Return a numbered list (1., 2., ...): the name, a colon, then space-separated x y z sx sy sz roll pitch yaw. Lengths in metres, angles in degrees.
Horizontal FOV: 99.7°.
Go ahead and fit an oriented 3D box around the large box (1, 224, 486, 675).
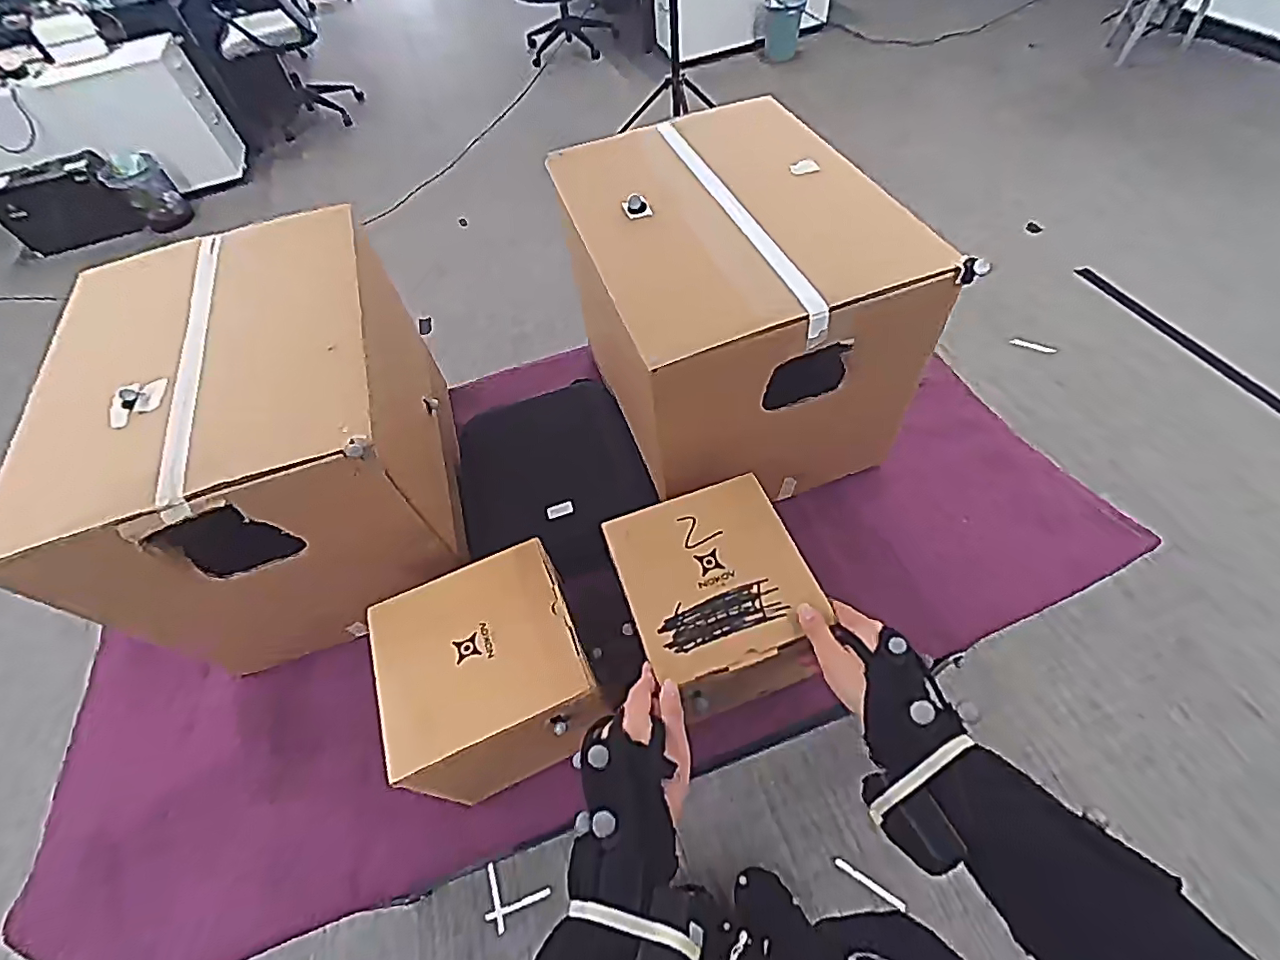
1. large box: -0.419 -0.036 0.670 0.320 0.320 0.408 -20 58 -6
